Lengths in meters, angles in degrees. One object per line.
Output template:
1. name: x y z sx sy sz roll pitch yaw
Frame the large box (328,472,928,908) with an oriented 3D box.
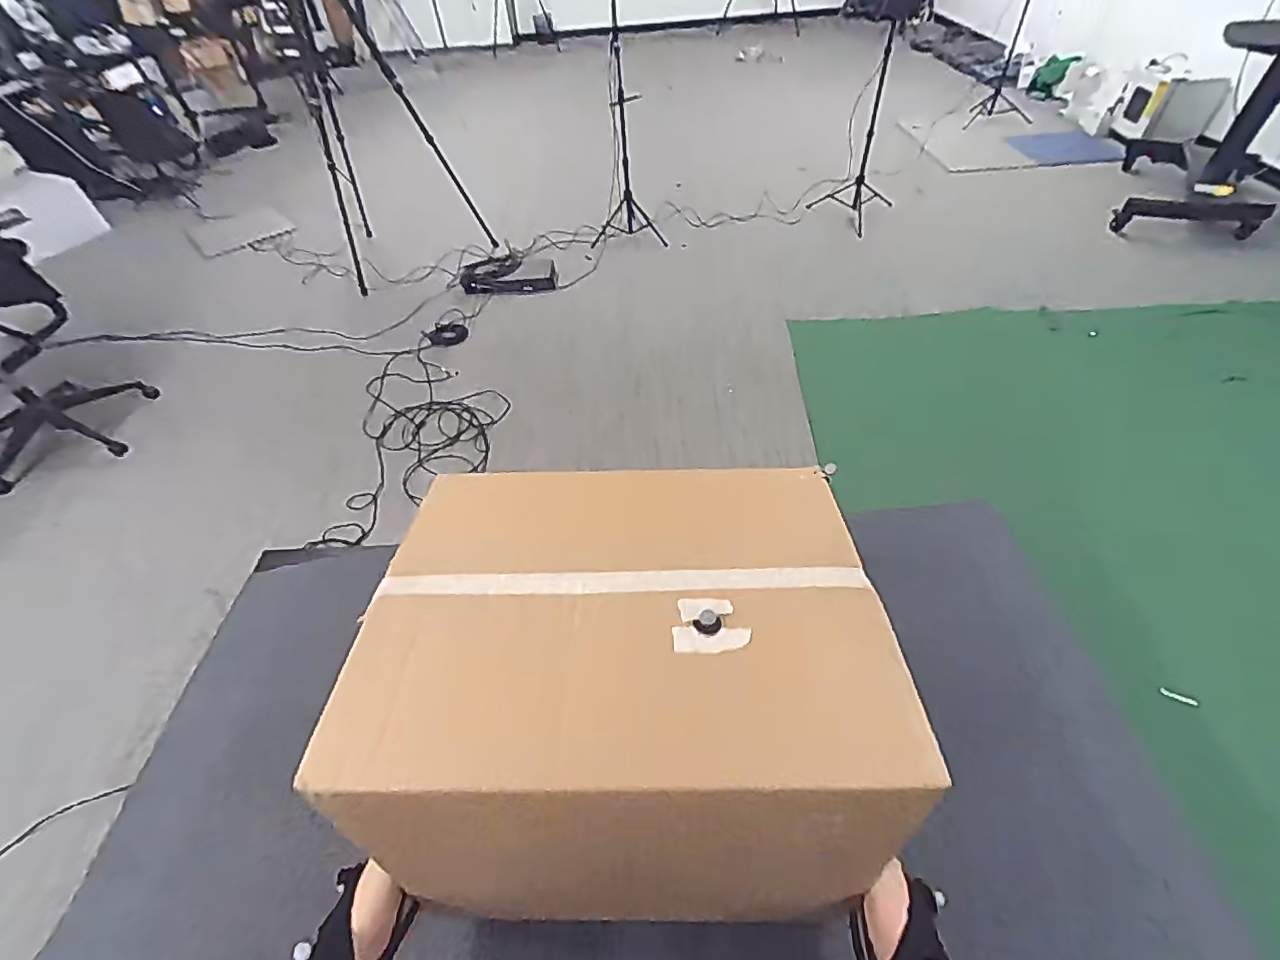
1. large box: -0.008 0.207 0.558 0.408 0.320 0.320 -1 40 1
